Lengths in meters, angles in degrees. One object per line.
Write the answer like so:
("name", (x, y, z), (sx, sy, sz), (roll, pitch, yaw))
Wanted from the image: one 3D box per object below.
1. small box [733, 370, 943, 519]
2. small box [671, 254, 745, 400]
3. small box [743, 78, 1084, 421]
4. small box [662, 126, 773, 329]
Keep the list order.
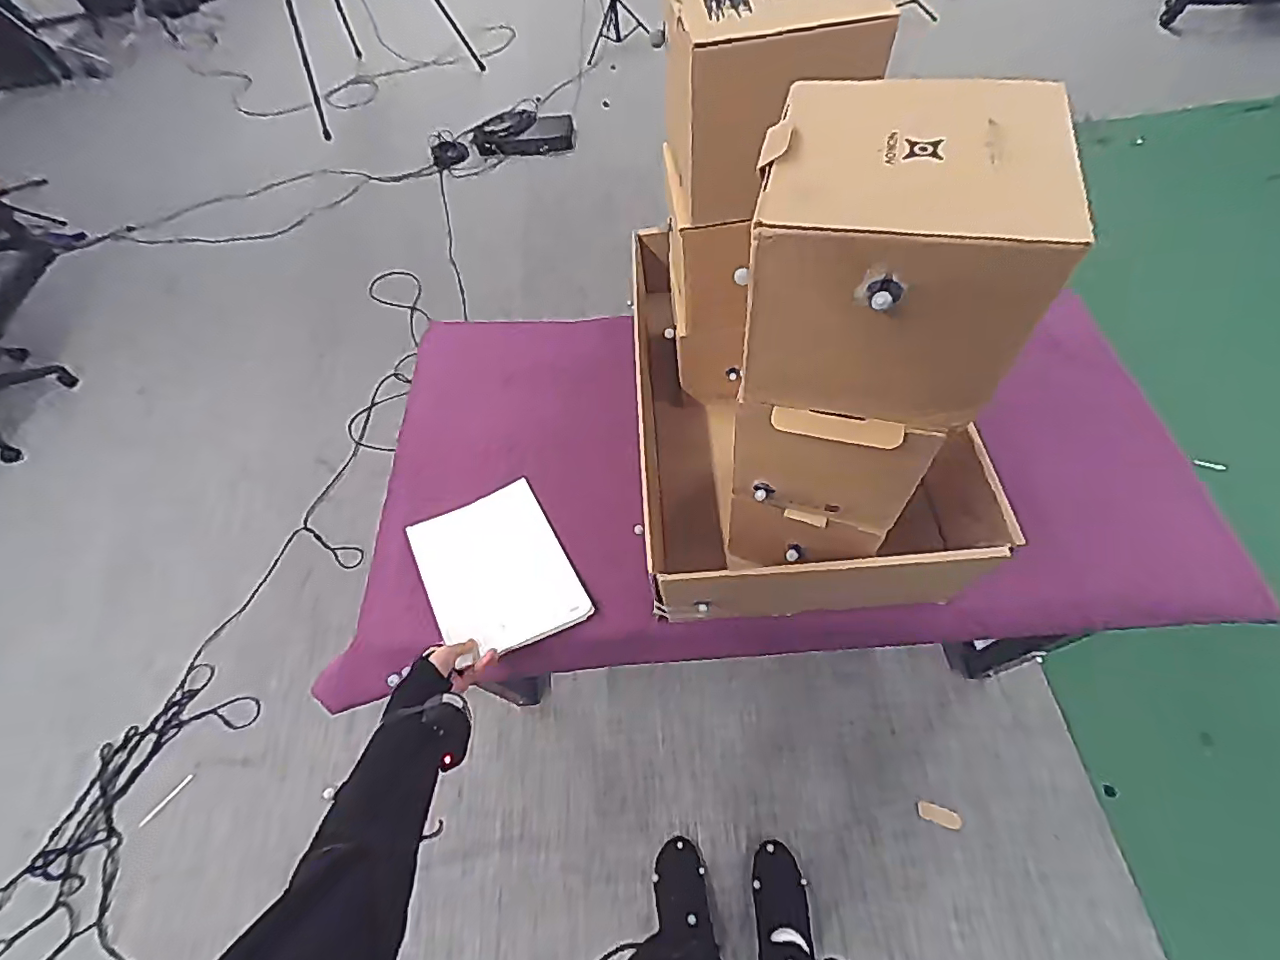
("small box", (0.195, -0.082, 0.541), (0.168, 0.176, 0.179), (13, 61, 16))
("small box", (0.139, -0.237, 0.833), (0.168, 0.176, 0.179), (-5, 61, 4))
("small box", (0.177, -0.162, 0.401), (0.179, 0.176, 0.168), (11, 62, 14))
("small box", (0.128, -0.313, 0.691), (0.179, 0.176, 0.168), (-7, 61, 2))
